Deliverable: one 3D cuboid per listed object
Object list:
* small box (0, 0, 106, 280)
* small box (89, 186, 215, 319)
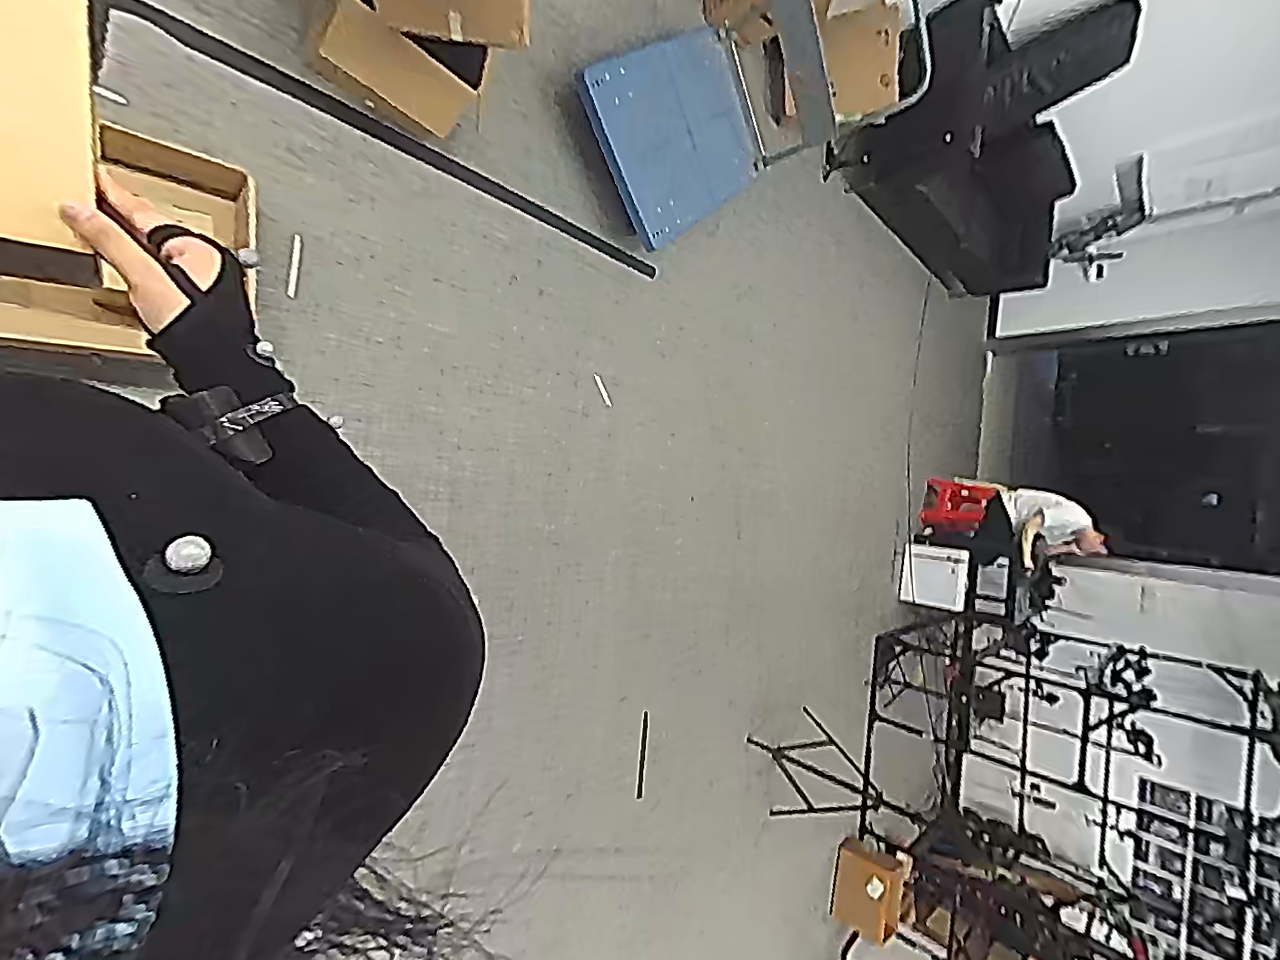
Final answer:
[{"bbox_3d":[-0.480,-0.240,0.359,0.179,0.176,0.168,-3,99,-43],"label":"small box"},{"bbox_3d":[-0.932,-0.420,1.034,0.168,0.176,0.179,2,90,-45],"label":"small box"}]
